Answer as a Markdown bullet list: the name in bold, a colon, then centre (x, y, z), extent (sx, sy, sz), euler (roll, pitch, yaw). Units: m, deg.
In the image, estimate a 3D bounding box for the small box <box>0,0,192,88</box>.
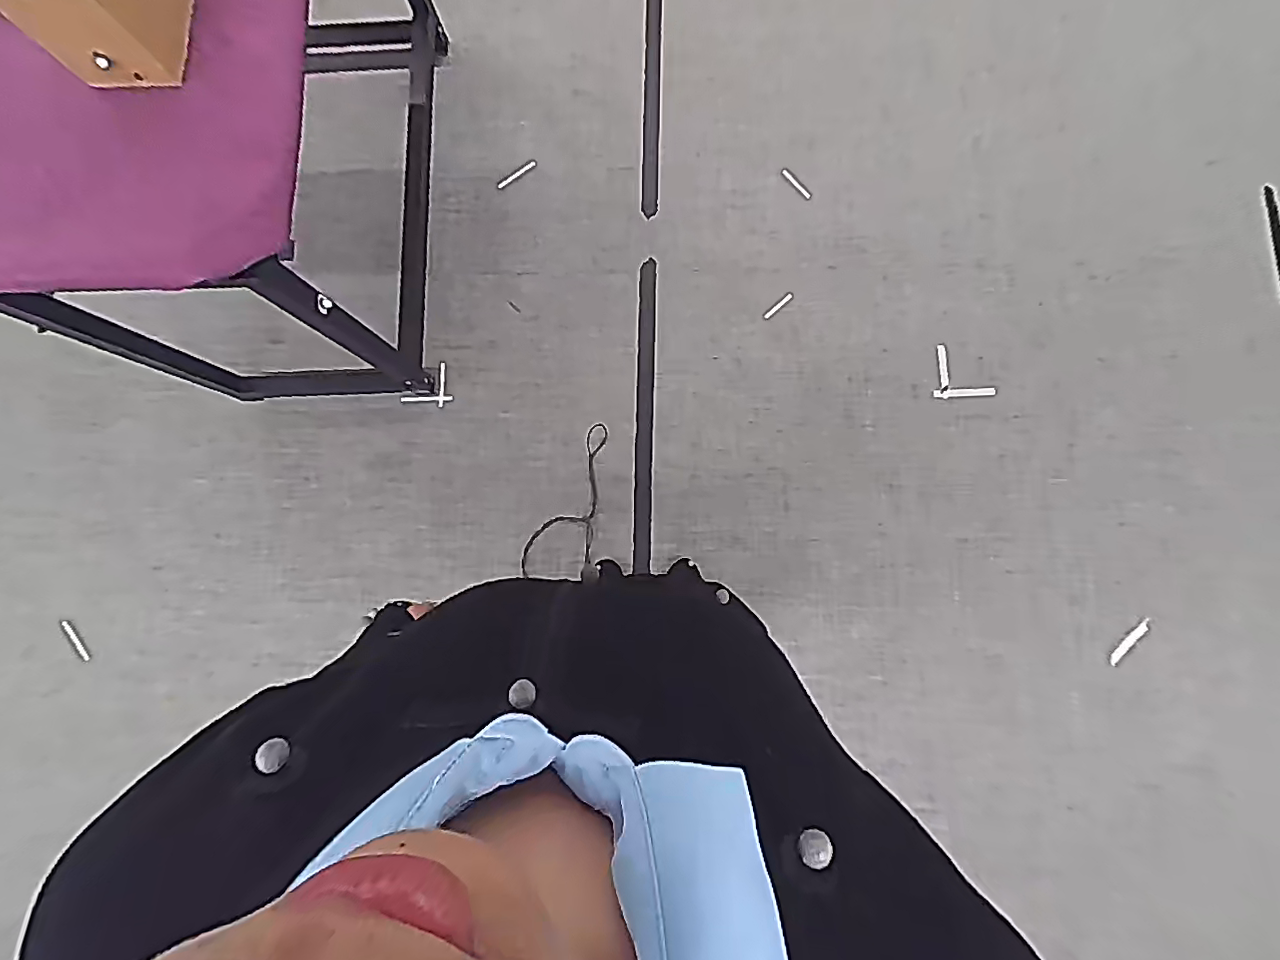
- **small box**: centre (-0.856, -0.763, 0.848), extent (0.168, 0.176, 0.179), euler (1, 83, 3)
